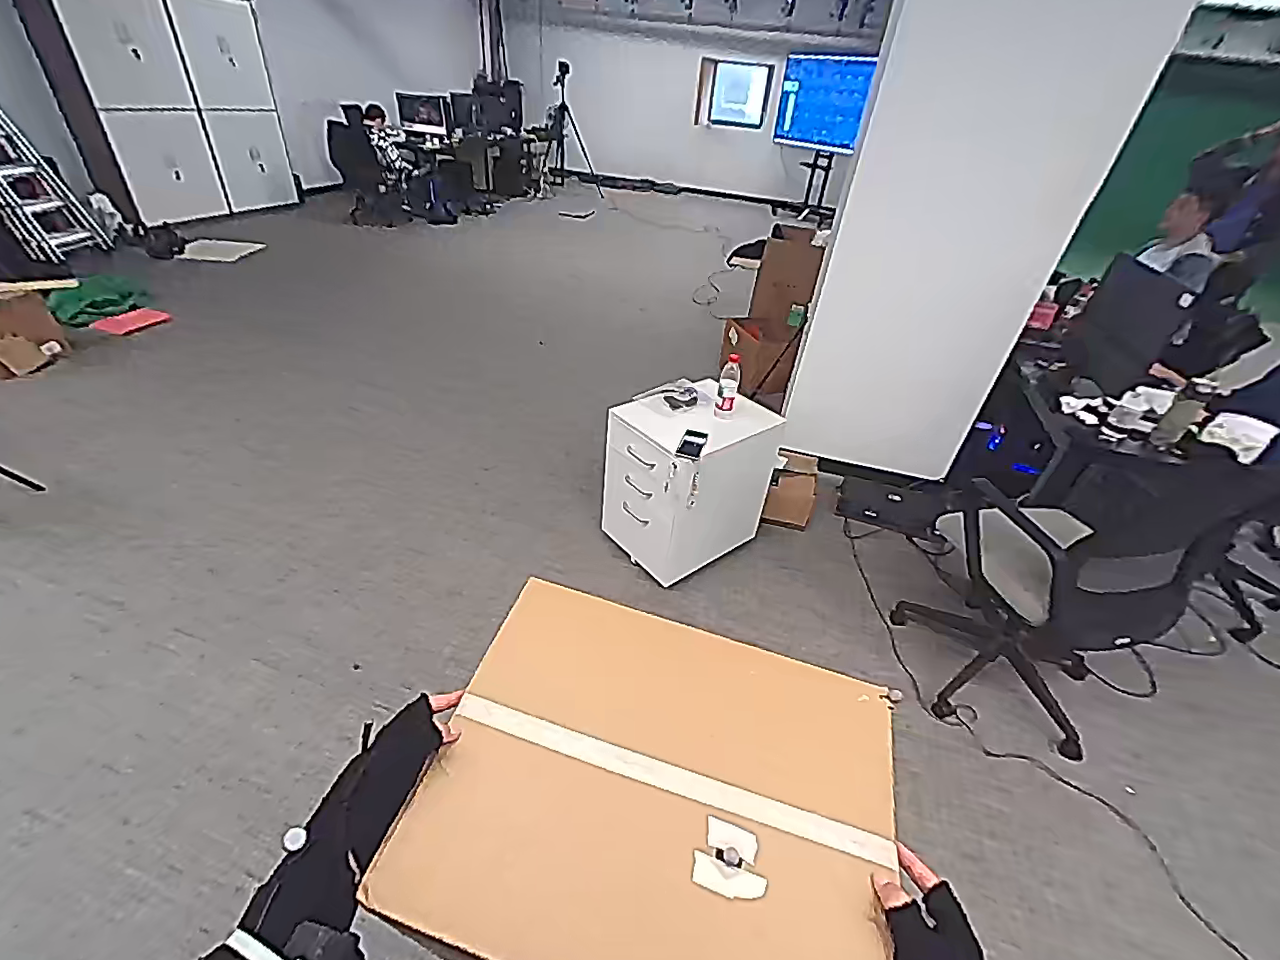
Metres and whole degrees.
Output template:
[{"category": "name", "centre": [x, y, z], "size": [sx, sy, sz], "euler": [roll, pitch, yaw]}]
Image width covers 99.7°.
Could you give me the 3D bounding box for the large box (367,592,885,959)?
[{"category": "large box", "centre": [0.002, 0.382, 0.593], "size": [0.408, 0.320, 0.320], "euler": [16, 45, 8]}]
